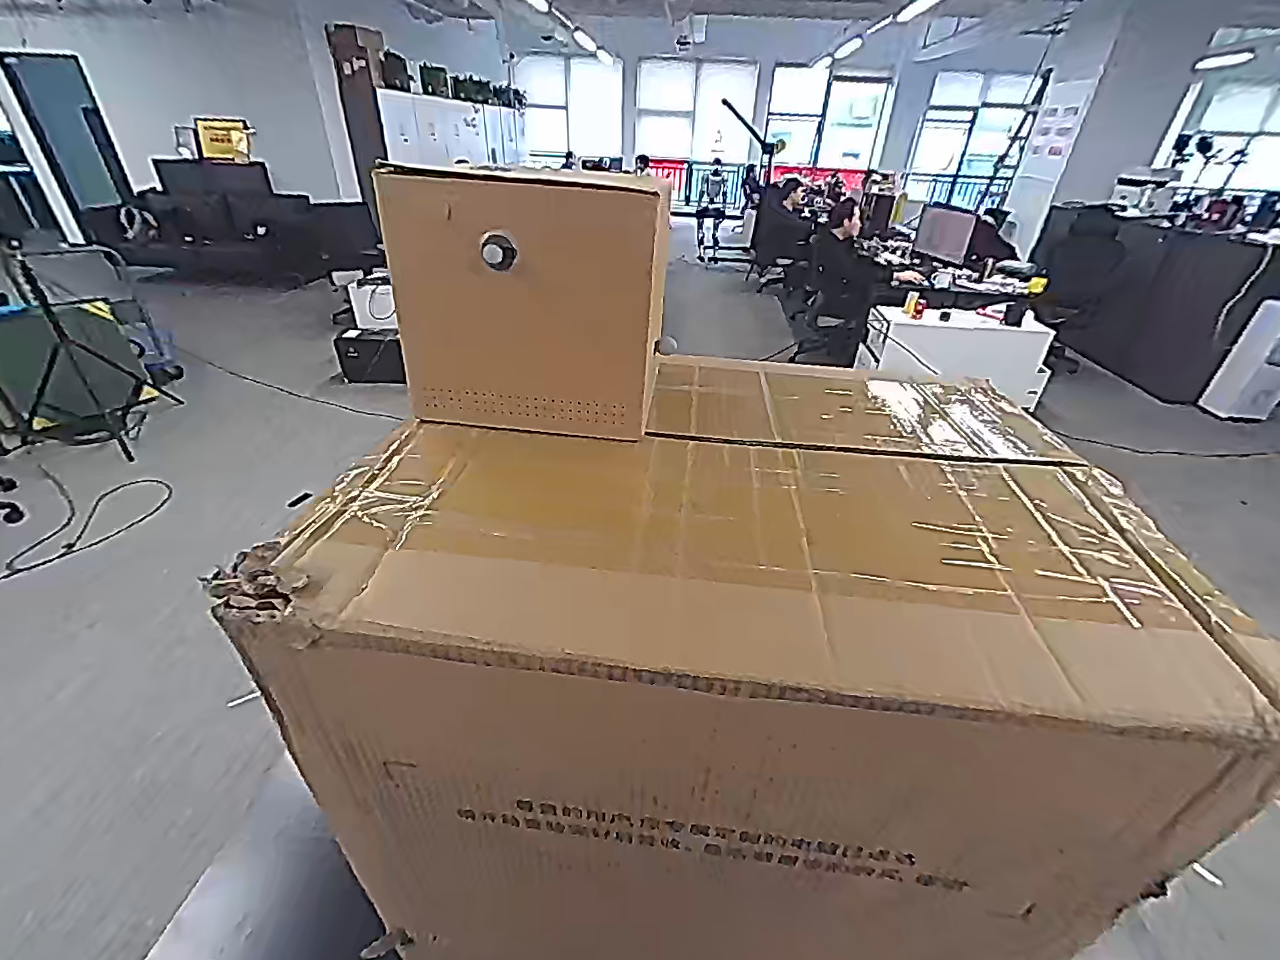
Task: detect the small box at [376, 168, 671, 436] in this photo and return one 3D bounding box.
[{"bbox_3d":[-0.072,-0.146,0.430,0.179,0.176,0.168,6,31,3],"label":"small box"}]
